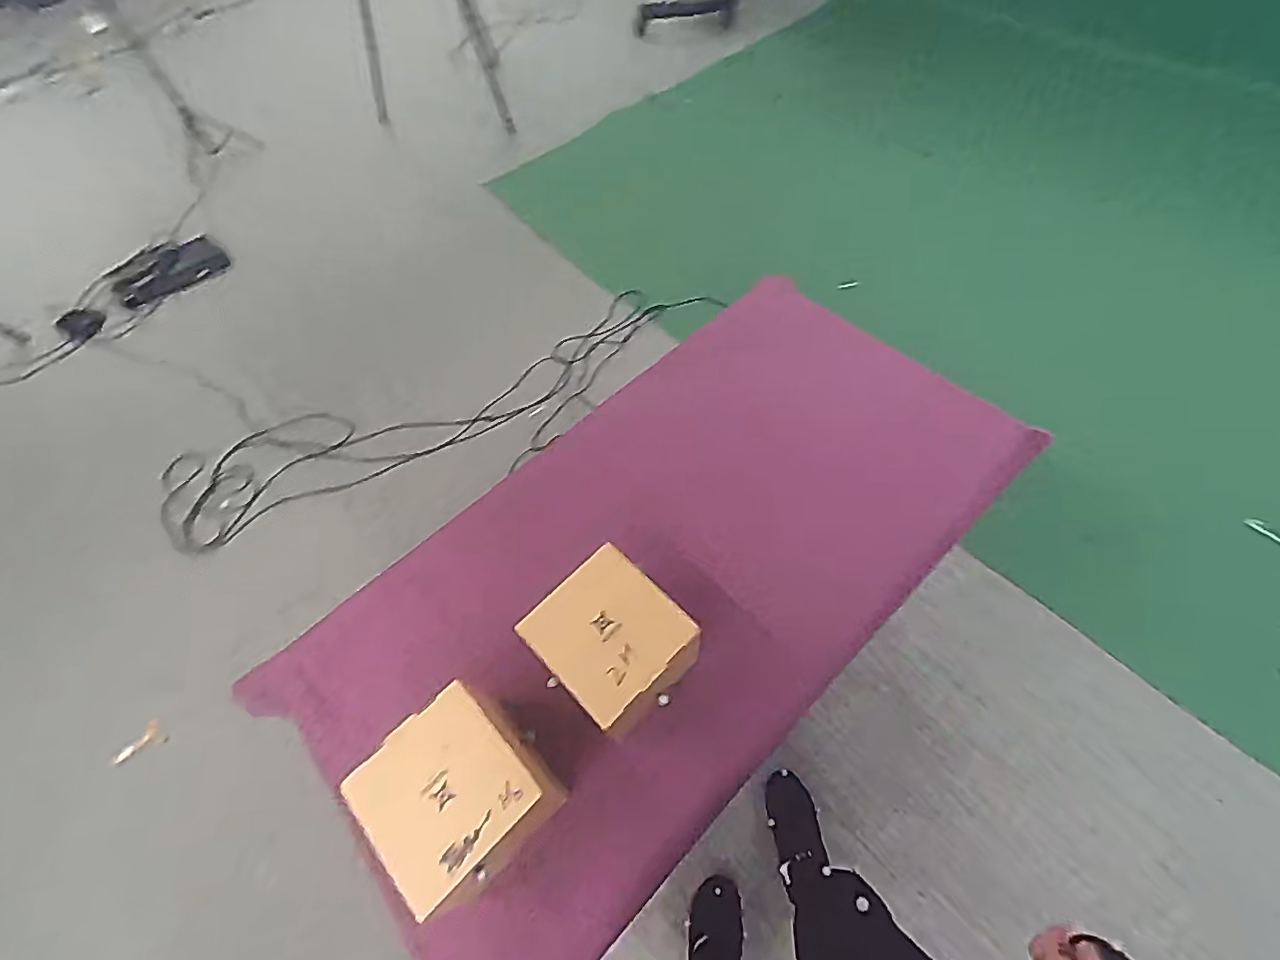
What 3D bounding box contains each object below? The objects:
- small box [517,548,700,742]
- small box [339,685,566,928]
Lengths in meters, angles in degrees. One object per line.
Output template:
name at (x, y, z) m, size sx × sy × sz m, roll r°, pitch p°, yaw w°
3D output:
small box at (-0.037, 0.232, 0.744) m, size 0.168 × 0.176 × 0.179 m, roll -41°, pitch 65°, yaw -18°
small box at (-0.216, 0.389, 0.662) m, size 0.168 × 0.176 × 0.179 m, roll -41°, pitch 63°, yaw -18°
